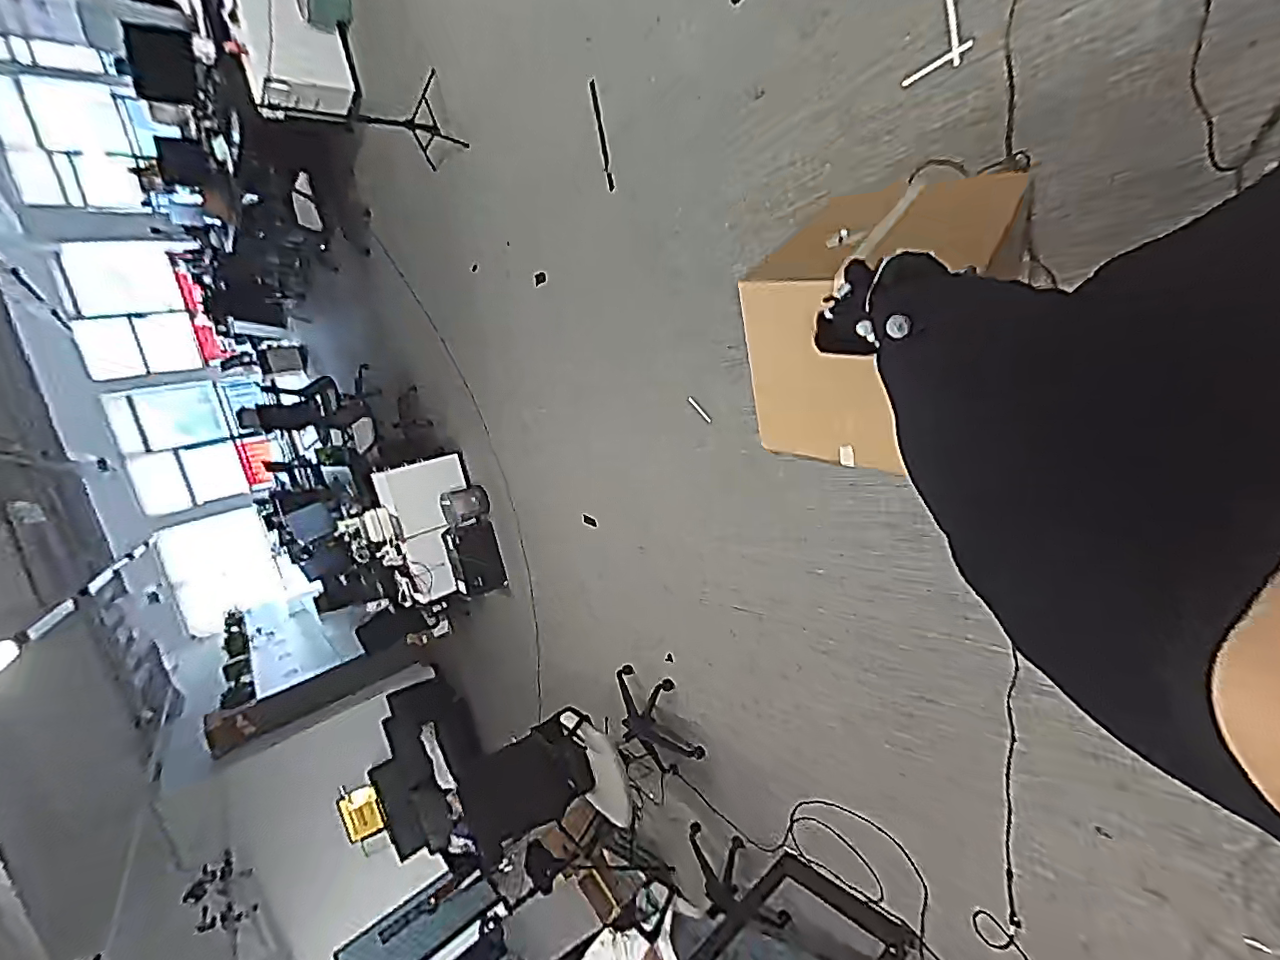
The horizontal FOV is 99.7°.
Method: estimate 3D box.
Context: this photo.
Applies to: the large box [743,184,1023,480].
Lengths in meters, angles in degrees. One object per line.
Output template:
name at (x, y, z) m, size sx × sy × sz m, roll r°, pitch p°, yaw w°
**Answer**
large box at (0.419, -0.258, 0.919) m, size 0.320 × 0.408 × 0.320 m, roll 12°, pitch 135°, yaw 37°
